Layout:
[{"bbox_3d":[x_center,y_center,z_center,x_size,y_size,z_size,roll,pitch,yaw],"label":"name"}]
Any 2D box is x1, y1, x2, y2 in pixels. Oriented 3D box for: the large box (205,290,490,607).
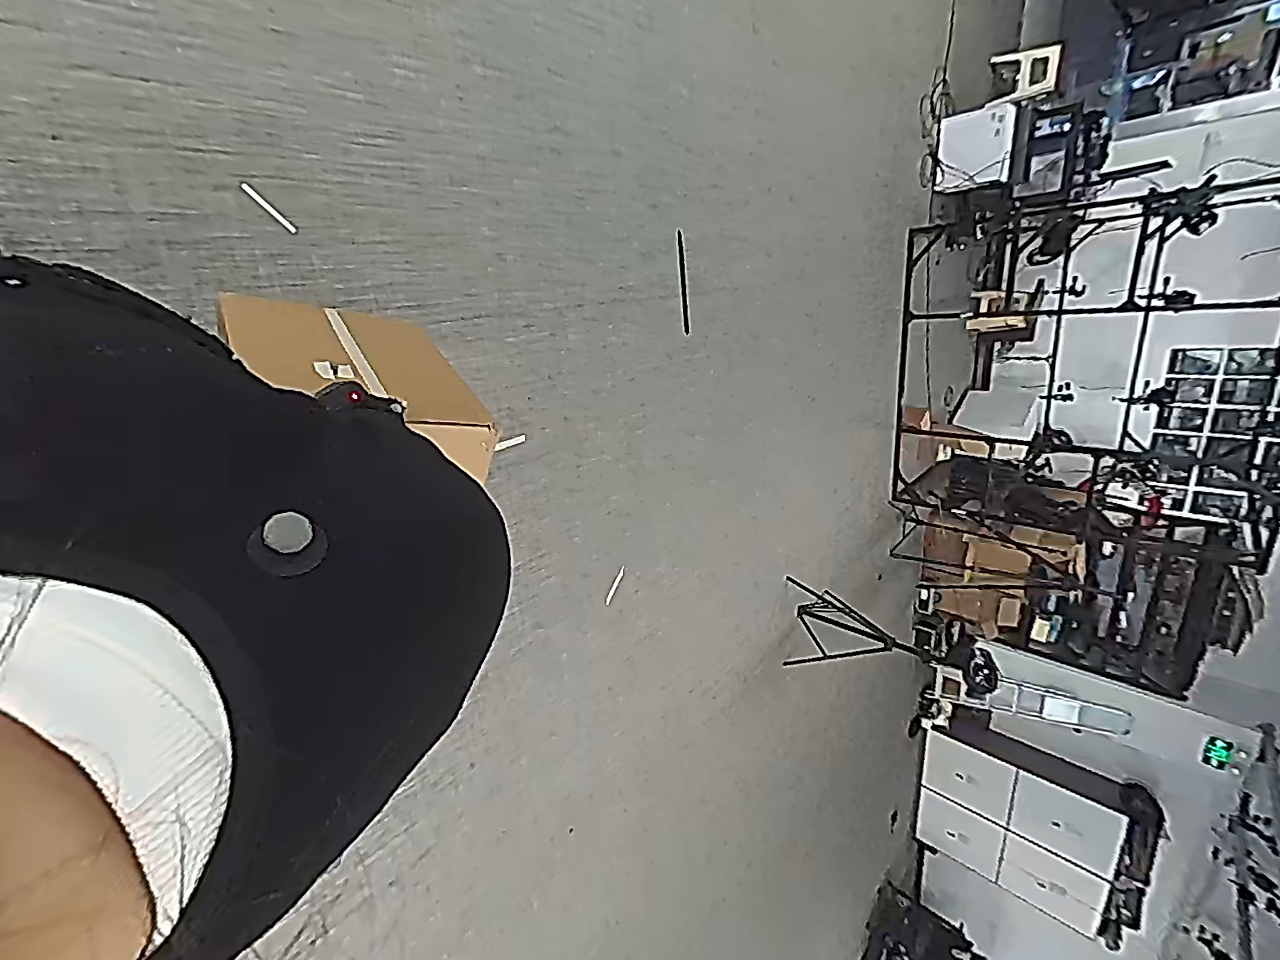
[{"bbox_3d":[-0.502,-0.062,0.889,0.320,0.408,0.320,-2,128,-41],"label":"large box"}]
